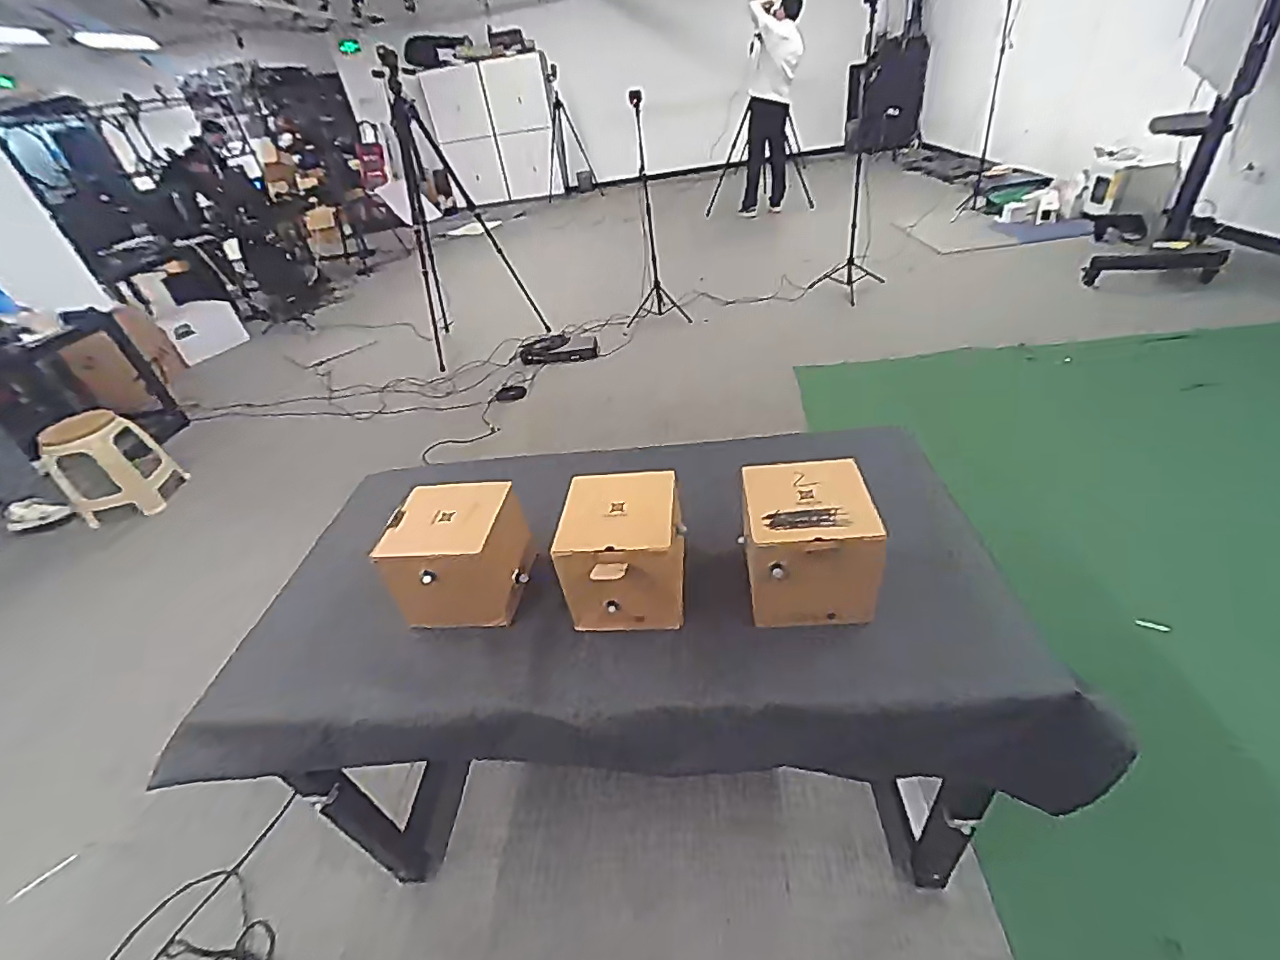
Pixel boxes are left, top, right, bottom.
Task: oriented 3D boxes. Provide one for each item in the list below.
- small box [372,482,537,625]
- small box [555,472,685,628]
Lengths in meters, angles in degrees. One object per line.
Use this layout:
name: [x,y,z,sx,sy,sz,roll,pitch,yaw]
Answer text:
small box: [-0.286,0.120,0.878,0.179,0.176,0.168,-2,38,8]
small box: [-0.020,0.106,0.835,0.168,0.176,0.179,-3,37,8]
